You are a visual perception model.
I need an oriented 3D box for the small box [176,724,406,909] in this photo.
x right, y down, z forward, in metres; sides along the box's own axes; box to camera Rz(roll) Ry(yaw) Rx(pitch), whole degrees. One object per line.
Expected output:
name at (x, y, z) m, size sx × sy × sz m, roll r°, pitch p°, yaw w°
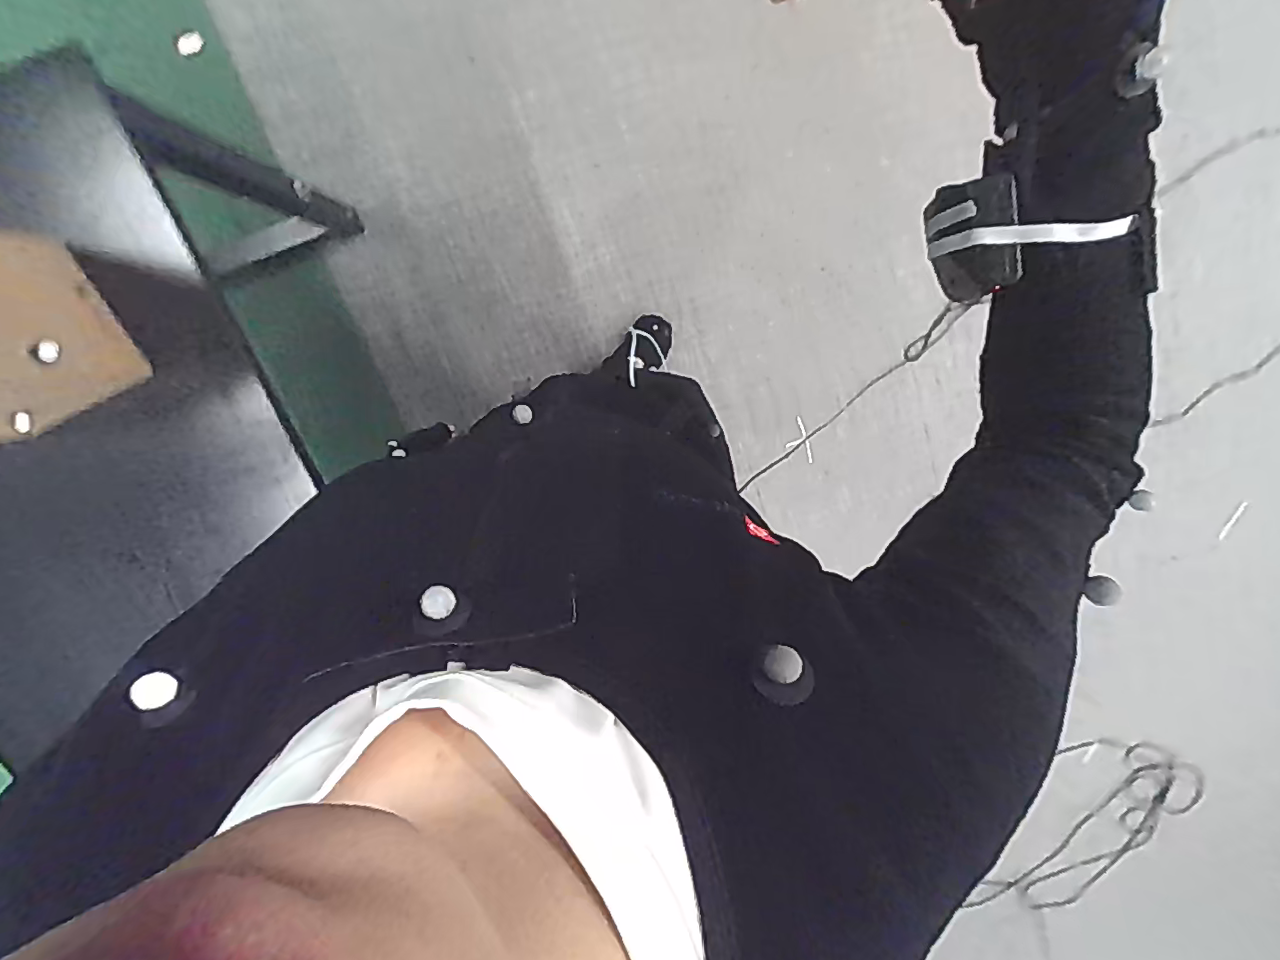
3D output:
small box at (-0.469, 0.488, 0.760) m, size 0.179 × 0.176 × 0.168 m, roll -28°, pitch 105°, yaw 3°
